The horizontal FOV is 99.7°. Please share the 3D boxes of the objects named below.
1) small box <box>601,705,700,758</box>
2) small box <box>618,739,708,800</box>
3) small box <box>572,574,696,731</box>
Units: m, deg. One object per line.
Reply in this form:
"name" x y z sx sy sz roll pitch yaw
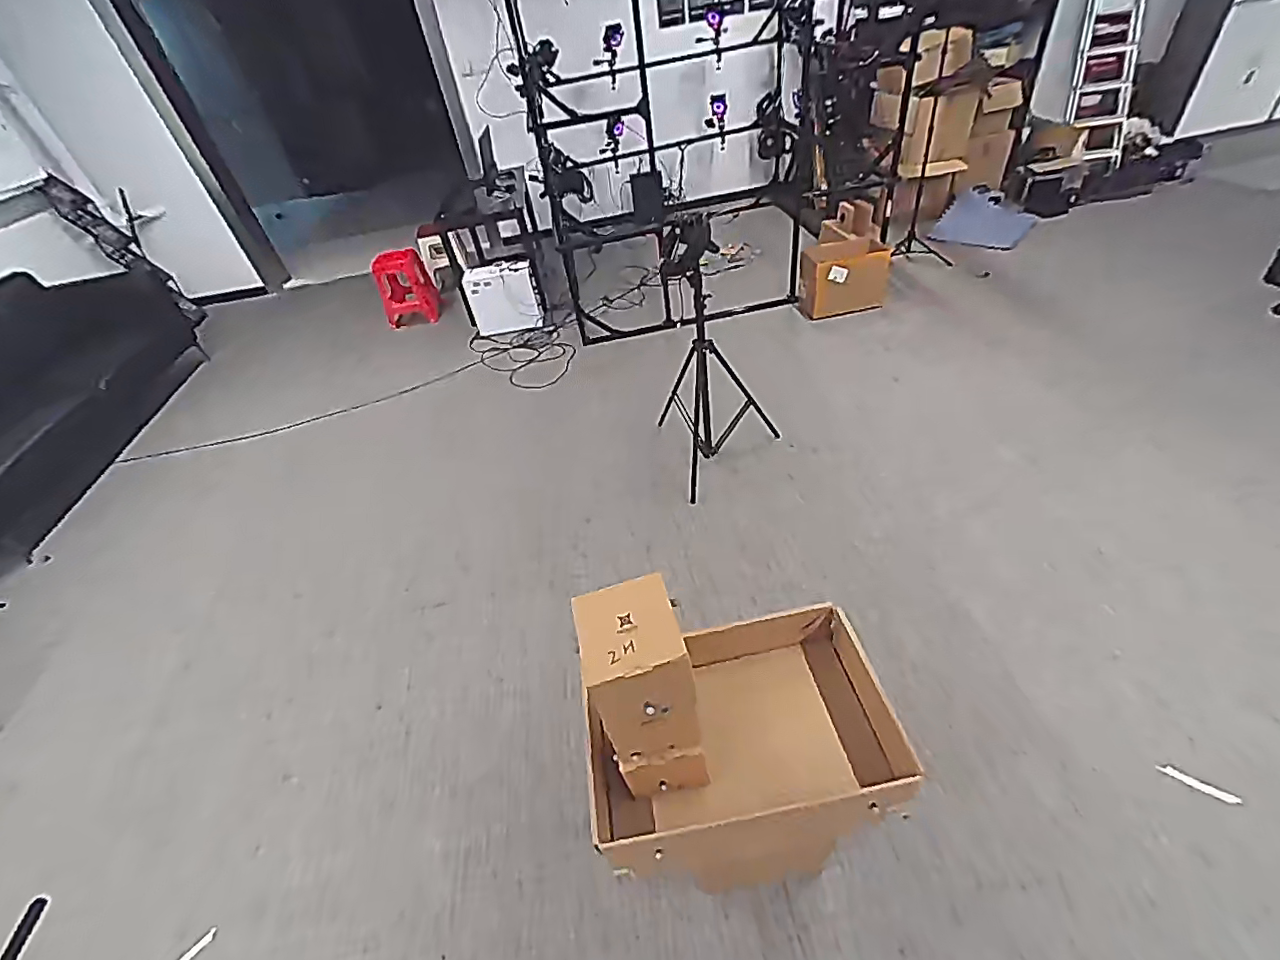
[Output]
"small box" 0.015 0.415 1.050 0.168 0.176 0.179 -13 41 -1
"small box" 0.040 0.544 1.148 0.168 0.176 0.179 -14 42 -1
"small box" -0.010 0.299 0.936 0.168 0.176 0.179 -16 42 -4
